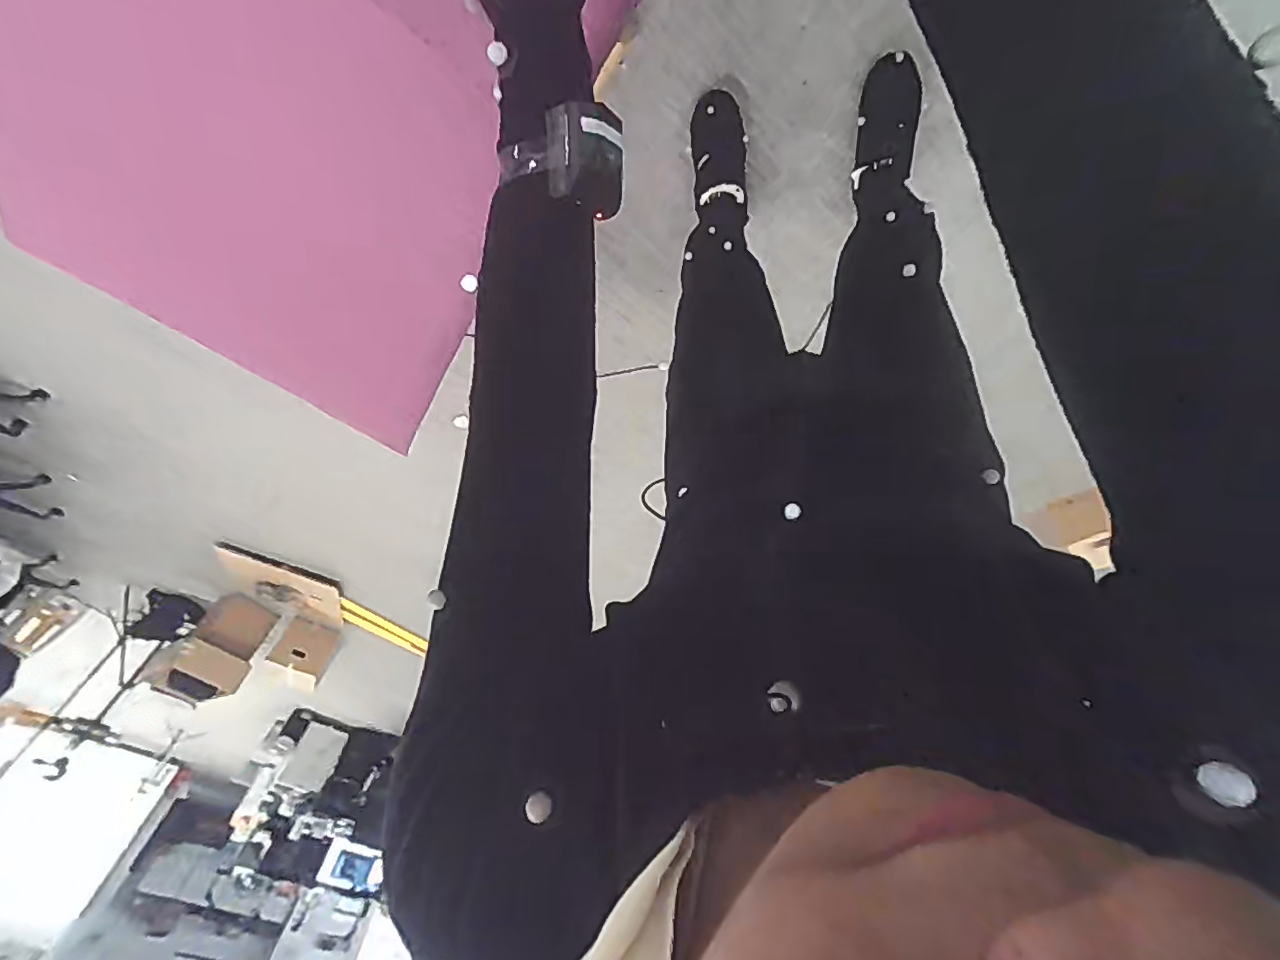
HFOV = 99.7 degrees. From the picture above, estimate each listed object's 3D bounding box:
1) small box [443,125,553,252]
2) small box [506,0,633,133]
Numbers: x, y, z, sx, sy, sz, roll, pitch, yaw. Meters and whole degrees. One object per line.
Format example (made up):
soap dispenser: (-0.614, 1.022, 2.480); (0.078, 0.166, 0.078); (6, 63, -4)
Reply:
small box: (-0.326, -0.682, 1.264); (0.168, 0.176, 0.179); (32, 134, -18)
small box: (-0.129, -0.832, 1.053); (0.168, 0.176, 0.179); (33, 135, -19)
